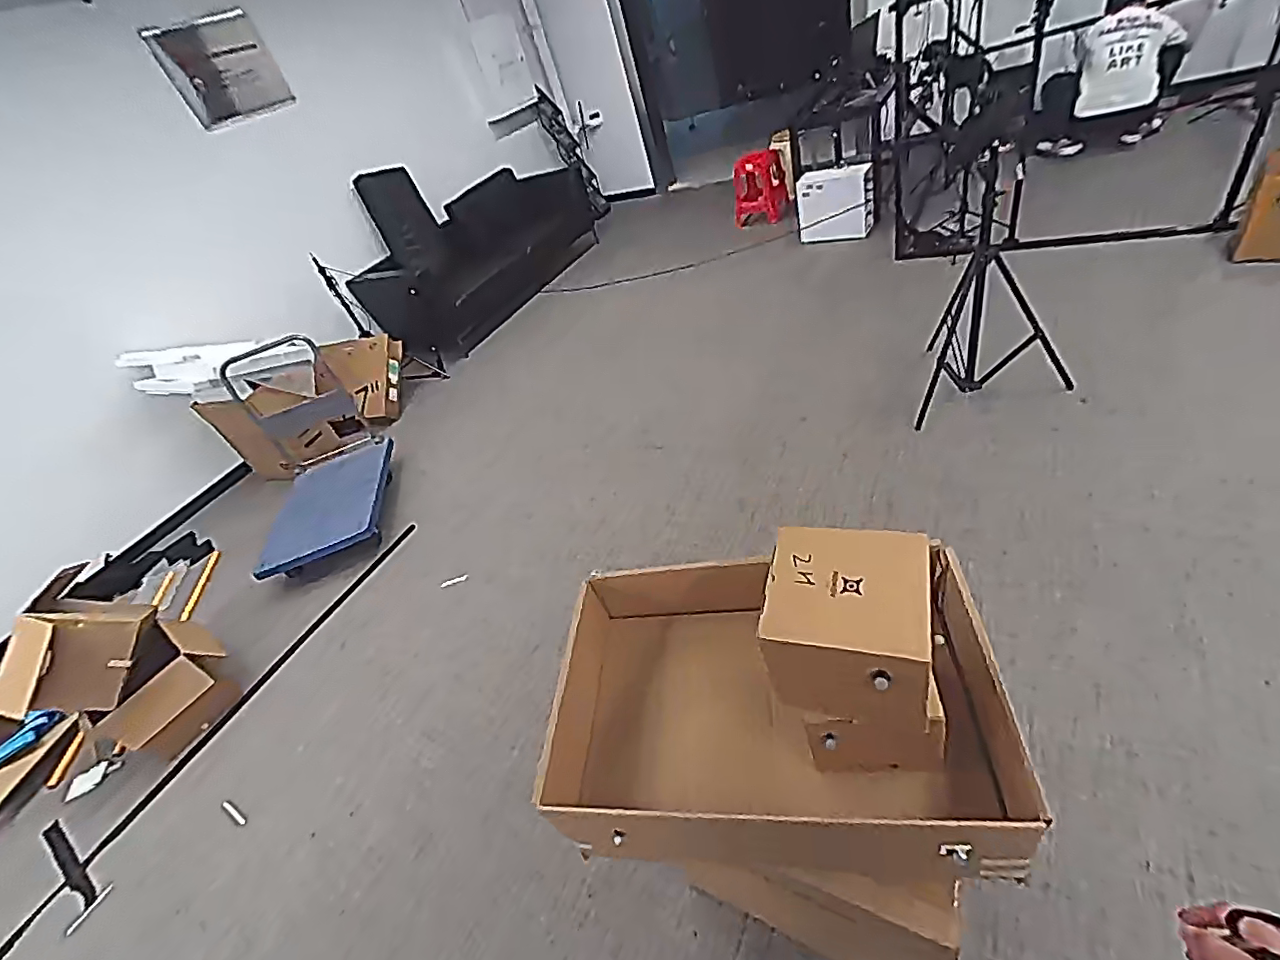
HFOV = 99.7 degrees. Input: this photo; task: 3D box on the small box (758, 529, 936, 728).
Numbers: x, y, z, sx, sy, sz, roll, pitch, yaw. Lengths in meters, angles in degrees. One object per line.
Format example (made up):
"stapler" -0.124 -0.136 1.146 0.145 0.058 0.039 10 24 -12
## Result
"small box" 0.260 0.180 0.665 0.179 0.176 0.168 0 44 27
